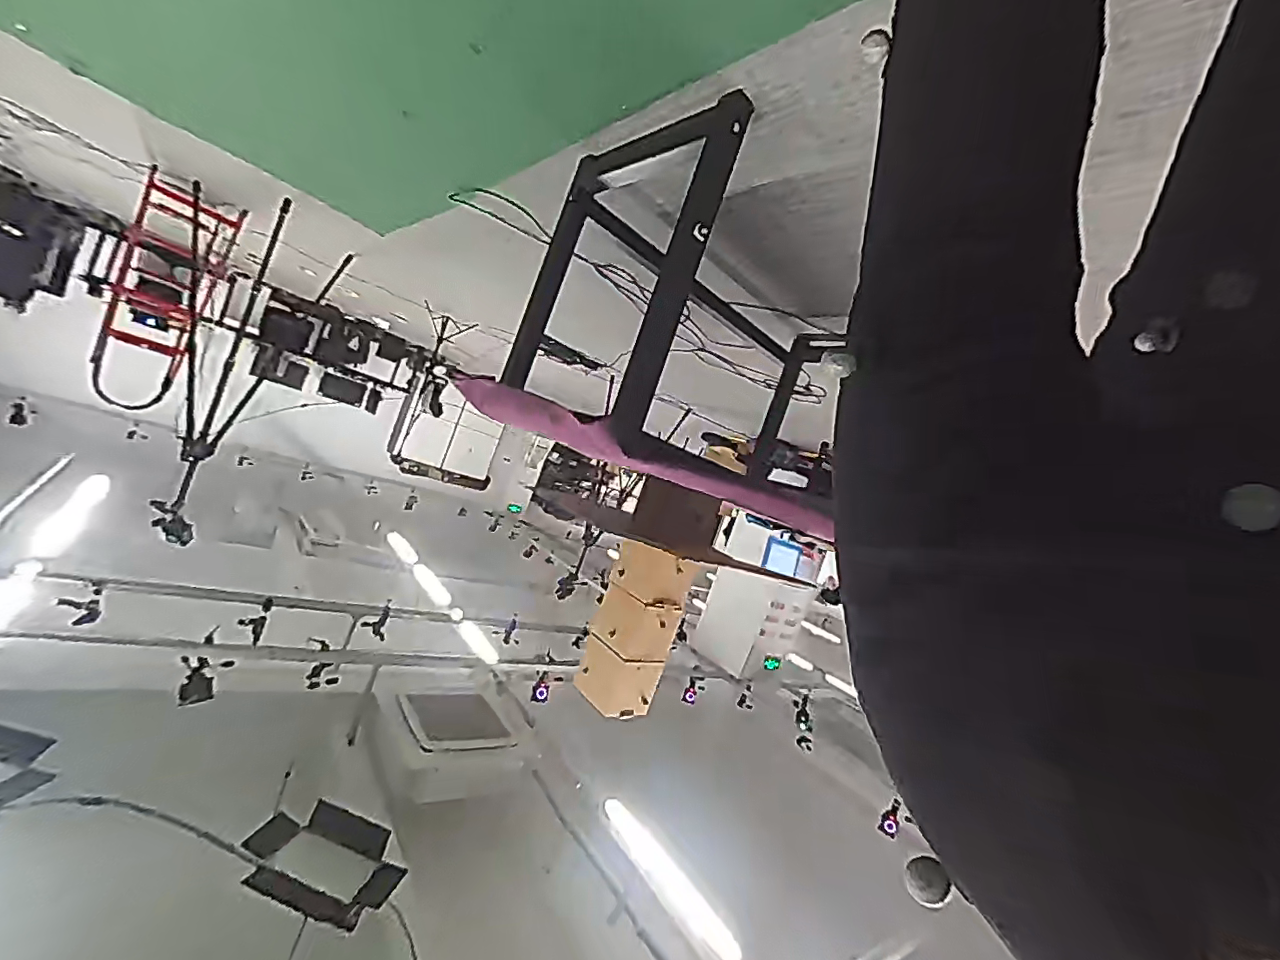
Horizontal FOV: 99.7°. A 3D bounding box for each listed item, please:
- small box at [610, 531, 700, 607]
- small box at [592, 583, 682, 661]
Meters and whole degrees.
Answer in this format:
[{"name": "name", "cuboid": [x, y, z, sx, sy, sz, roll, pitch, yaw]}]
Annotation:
[{"name": "small box", "cuboid": [0.047, 0.257, 1.596, 0.168, 0.176, 0.179, 19, -178, -43]}, {"name": "small box", "cuboid": [-0.006, 0.411, 1.595, 0.168, 0.176, 0.179, 20, -179, -41]}]
